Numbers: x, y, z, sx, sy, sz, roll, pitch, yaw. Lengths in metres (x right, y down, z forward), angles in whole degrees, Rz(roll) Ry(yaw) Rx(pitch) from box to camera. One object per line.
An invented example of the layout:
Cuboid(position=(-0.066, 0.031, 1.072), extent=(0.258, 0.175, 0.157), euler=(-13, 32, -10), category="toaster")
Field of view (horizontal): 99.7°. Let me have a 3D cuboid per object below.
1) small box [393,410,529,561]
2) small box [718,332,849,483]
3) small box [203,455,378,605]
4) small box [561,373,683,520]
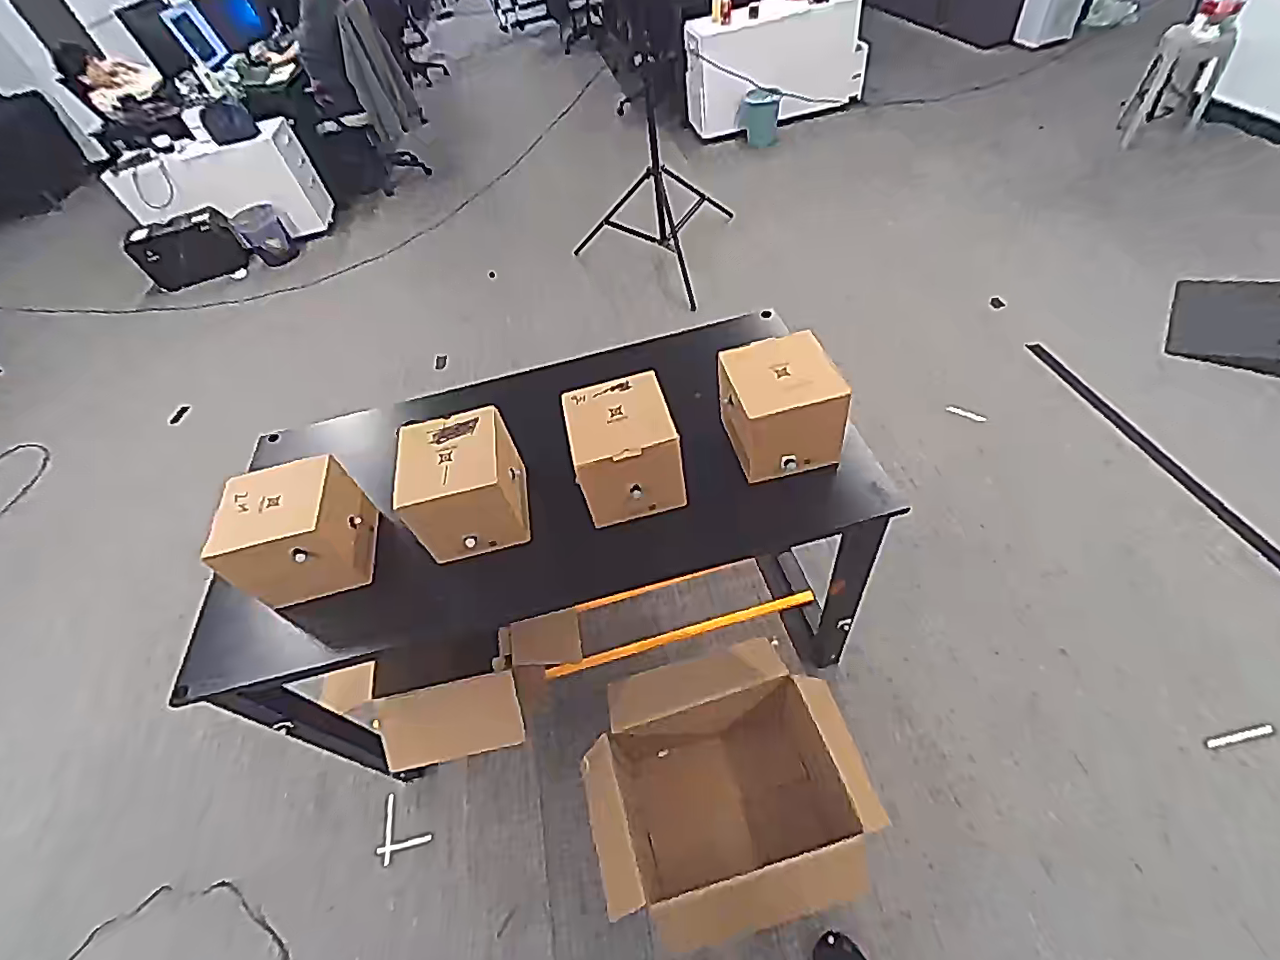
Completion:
Cuboid(position=(-0.297, 0.011, 0.930), extent=(0.168, 0.176, 0.179), euler=(-14, 51, -1), category="small box")
Cuboid(position=(0.240, -0.123, 0.941), extent=(0.168, 0.176, 0.179), euler=(-15, 51, 0), category="small box")
Cuboid(position=(-0.572, 0.088, 0.916), extent=(0.179, 0.176, 0.168), euler=(-15, 50, -2), category="small box")
Cuboid(position=(-0.028, -0.050, 0.932), extent=(0.168, 0.176, 0.179), euler=(-15, 51, -1), category="small box")
